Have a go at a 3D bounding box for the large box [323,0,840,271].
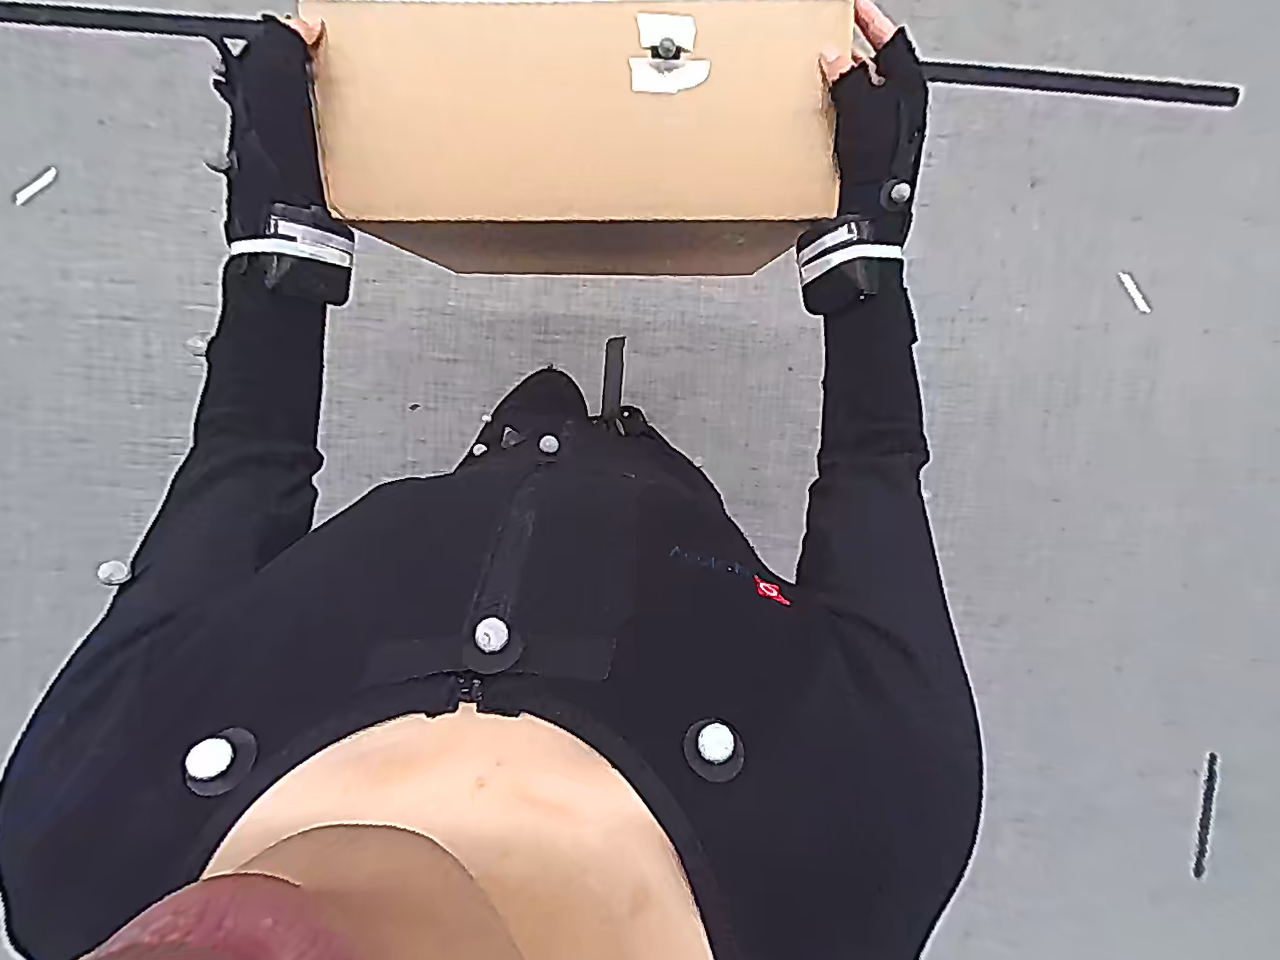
[{"bbox_3d":[-0.047,-0.404,0.557,0.408,0.320,0.320,-1,104,-1],"label":"large box"}]
